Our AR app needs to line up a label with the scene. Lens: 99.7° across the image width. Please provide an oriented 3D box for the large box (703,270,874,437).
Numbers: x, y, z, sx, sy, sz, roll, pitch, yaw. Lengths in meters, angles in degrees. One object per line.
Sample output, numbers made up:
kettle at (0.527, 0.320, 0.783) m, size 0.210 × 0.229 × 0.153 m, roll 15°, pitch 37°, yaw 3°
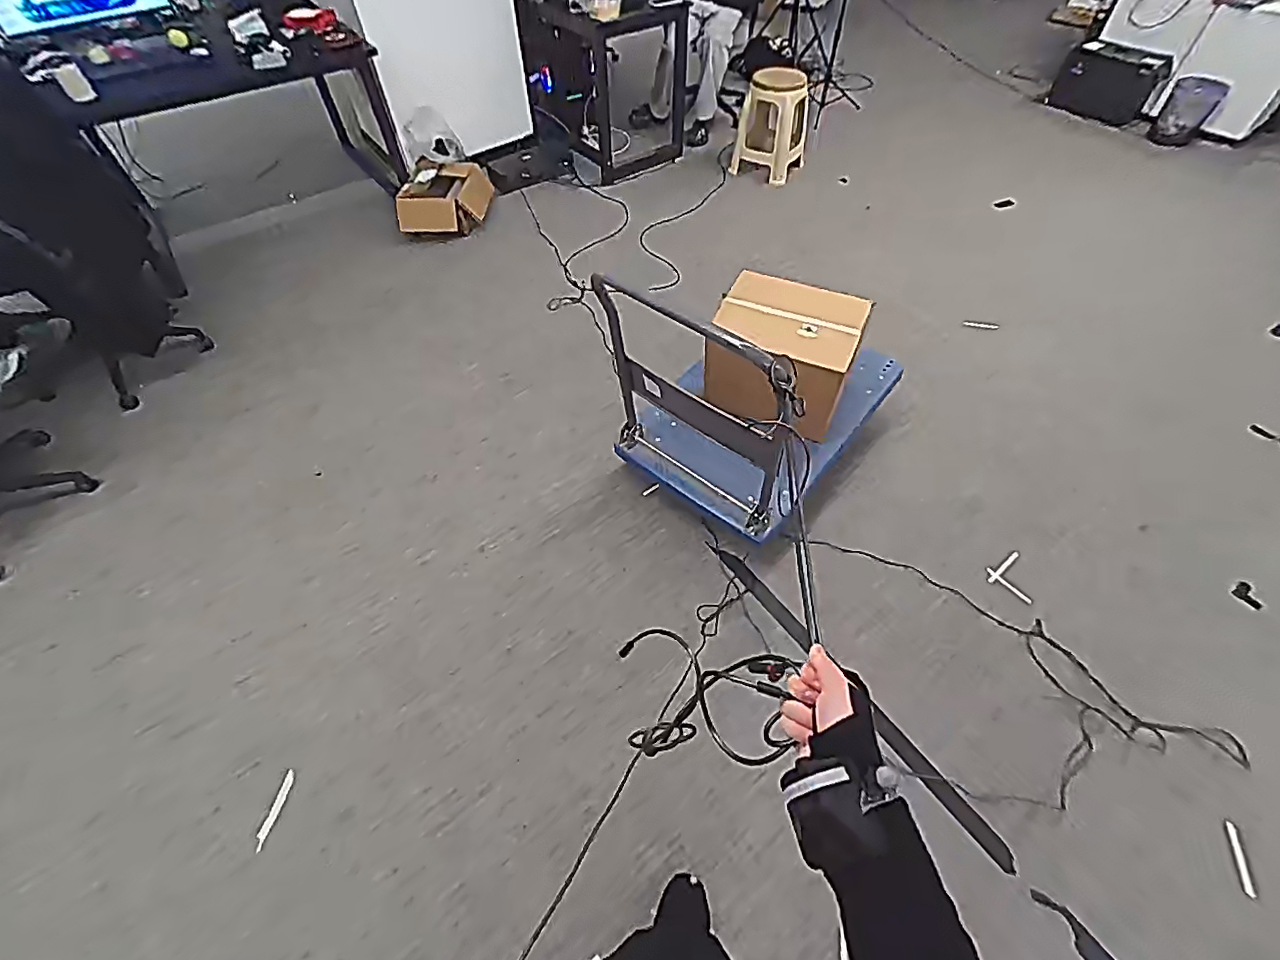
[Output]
large box at (0.439, -0.388, 1.668) m, size 0.408 × 0.320 × 0.320 m, roll 21°, pitch 62°, yaw 16°
